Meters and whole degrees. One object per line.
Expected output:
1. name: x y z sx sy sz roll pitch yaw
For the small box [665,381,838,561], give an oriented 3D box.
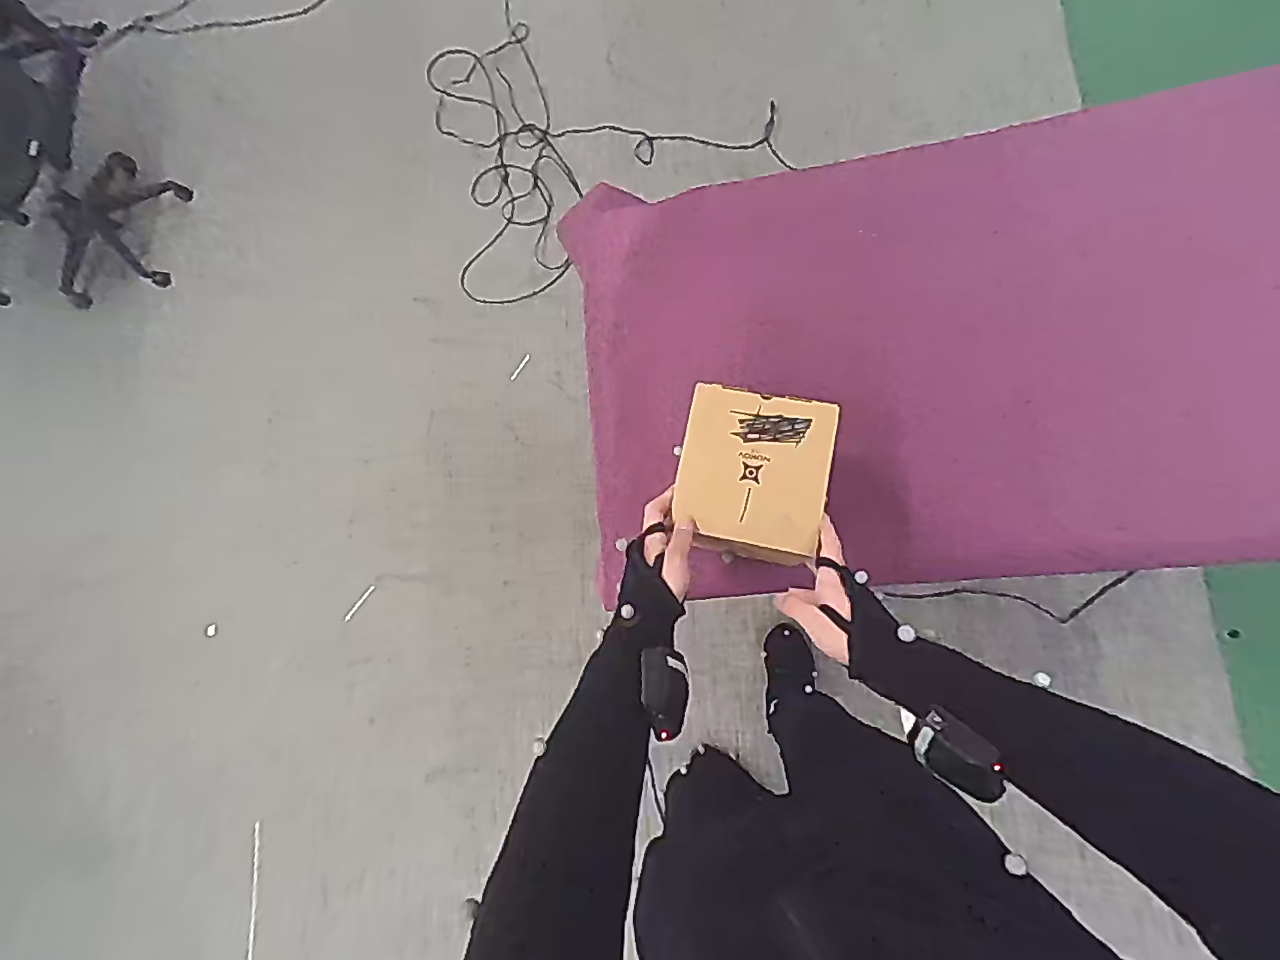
1. small box: 0.135 -0.002 0.682 0.168 0.176 0.179 12 81 10
